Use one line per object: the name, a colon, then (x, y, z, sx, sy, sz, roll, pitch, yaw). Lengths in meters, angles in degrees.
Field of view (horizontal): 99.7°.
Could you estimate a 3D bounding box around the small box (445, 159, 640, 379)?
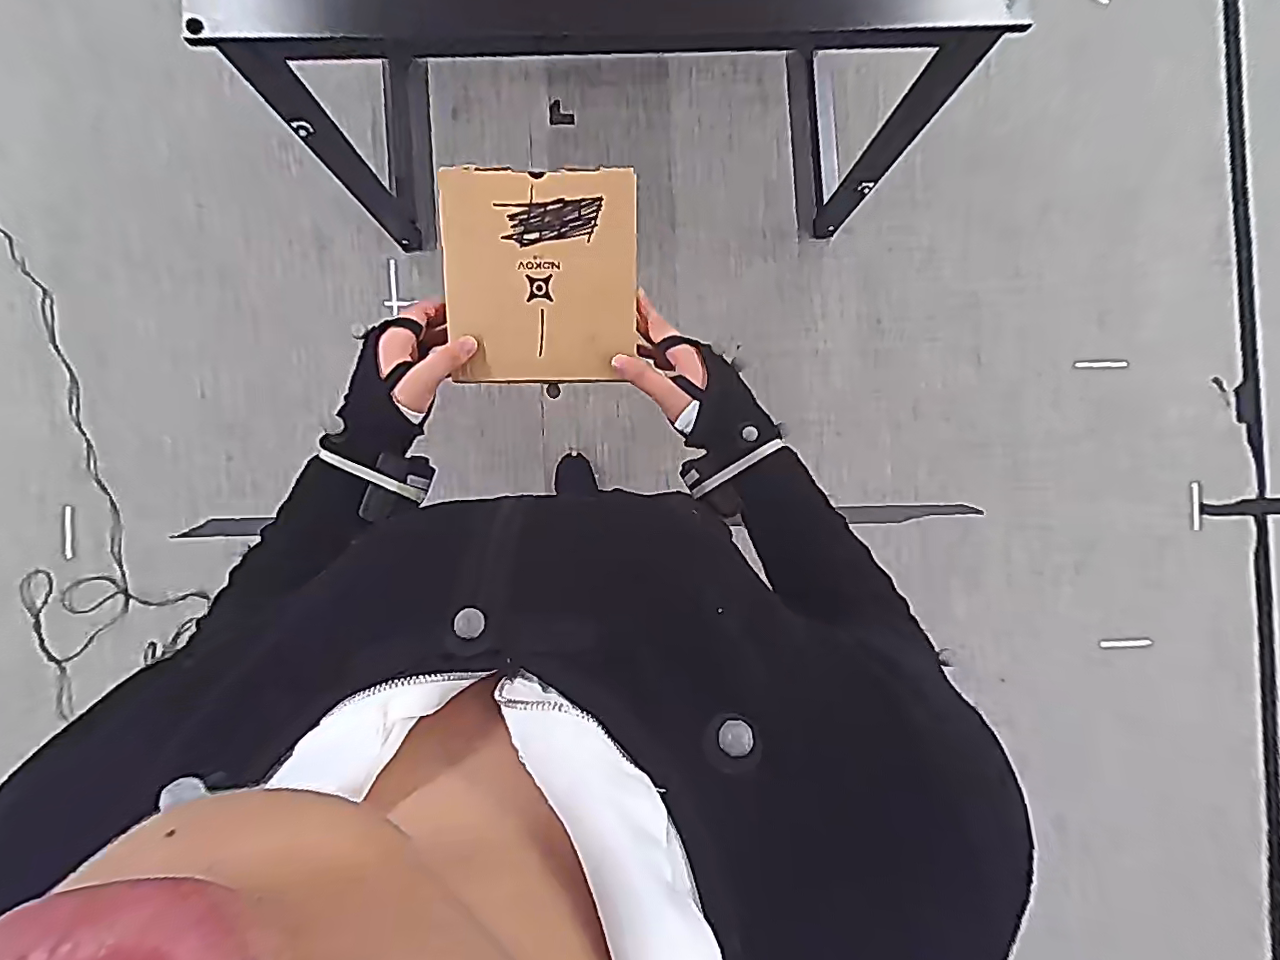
small box: (-0.087, -0.194, 0.545, 0.168, 0.176, 0.179, 0, 100, -2)
